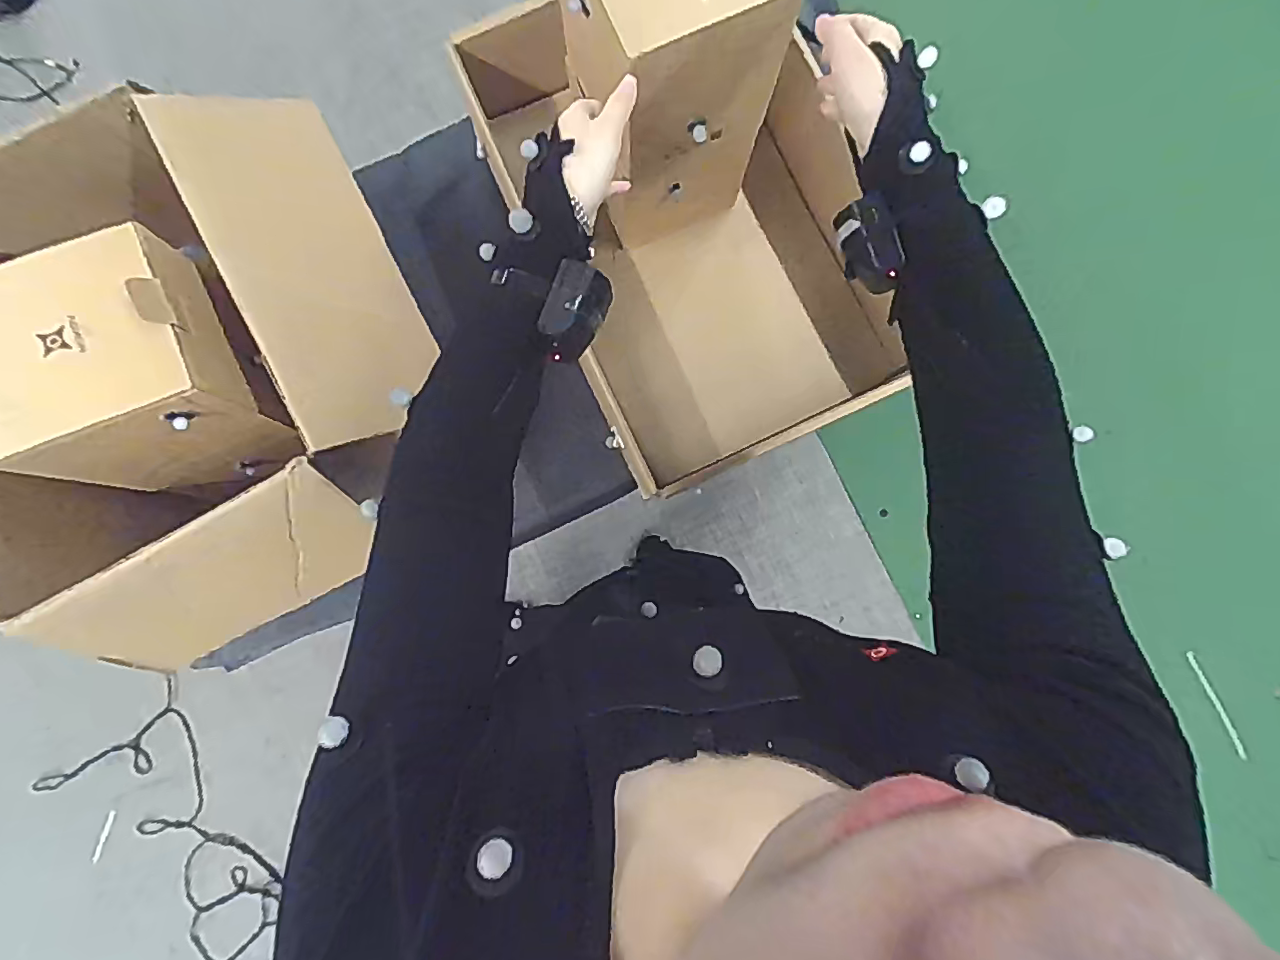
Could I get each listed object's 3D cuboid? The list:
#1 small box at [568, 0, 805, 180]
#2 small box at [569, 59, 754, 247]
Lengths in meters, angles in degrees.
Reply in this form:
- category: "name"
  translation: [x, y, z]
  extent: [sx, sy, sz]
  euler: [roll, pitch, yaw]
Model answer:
- category: "small box"
  translation: [0.030, -0.445, 0.532]
  extent: [0.168, 0.176, 0.179]
  euler: [-24, 88, -2]
- category: "small box"
  translation: [0.029, -0.435, 0.696]
  extent: [0.179, 0.176, 0.168]
  euler: [-24, 87, -1]
